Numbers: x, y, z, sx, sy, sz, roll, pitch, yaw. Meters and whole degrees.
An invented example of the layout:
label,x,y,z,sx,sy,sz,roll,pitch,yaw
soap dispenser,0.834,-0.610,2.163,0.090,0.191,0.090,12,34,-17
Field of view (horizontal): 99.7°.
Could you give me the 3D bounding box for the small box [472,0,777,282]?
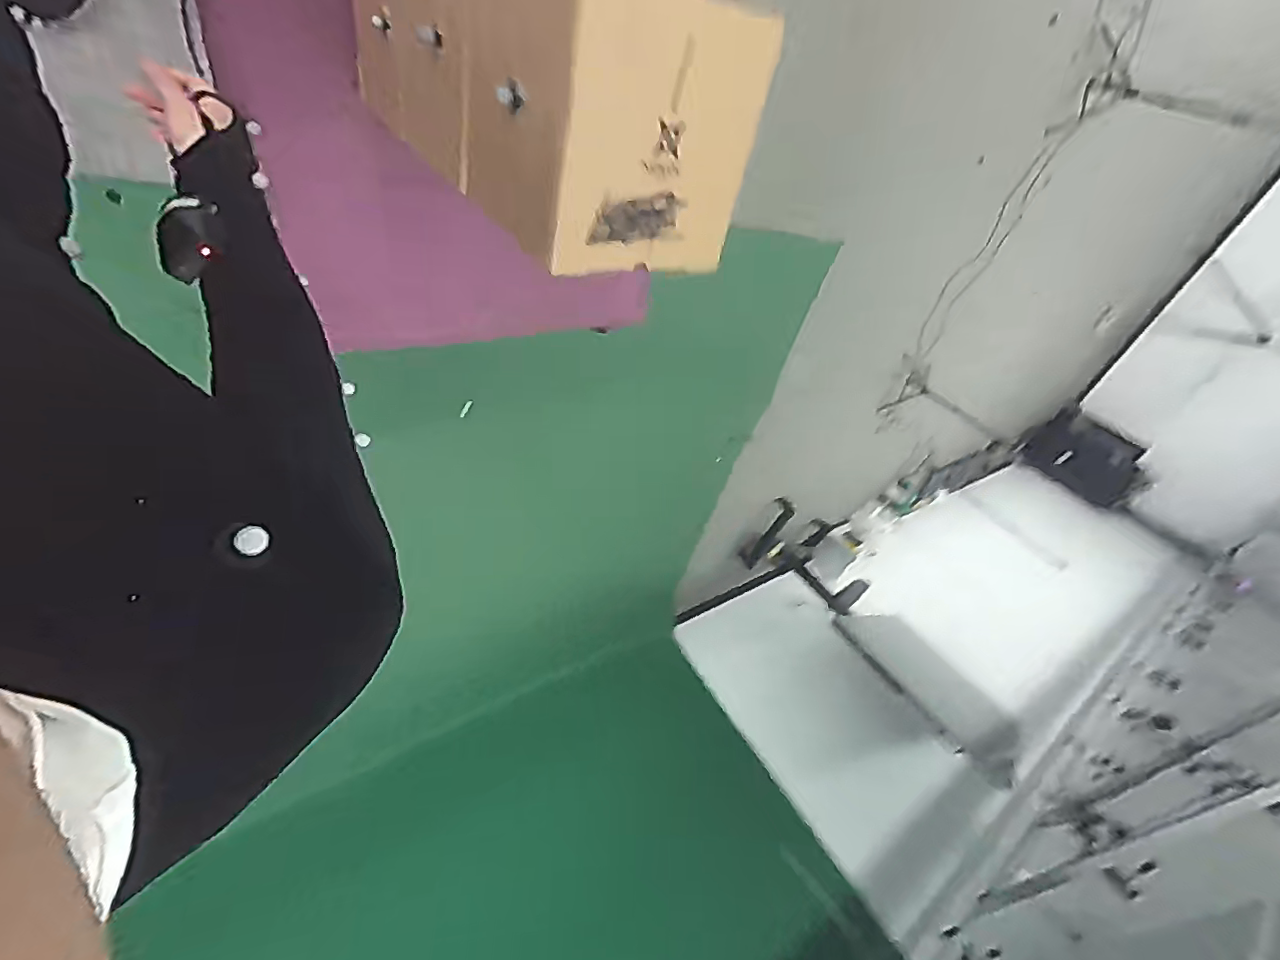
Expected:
label,x,y,z,sx,sy,sz,roll,pitch,yaw
small box,-0.027,-0.282,0.444,0.168,0.176,0.179,-16,138,-34
